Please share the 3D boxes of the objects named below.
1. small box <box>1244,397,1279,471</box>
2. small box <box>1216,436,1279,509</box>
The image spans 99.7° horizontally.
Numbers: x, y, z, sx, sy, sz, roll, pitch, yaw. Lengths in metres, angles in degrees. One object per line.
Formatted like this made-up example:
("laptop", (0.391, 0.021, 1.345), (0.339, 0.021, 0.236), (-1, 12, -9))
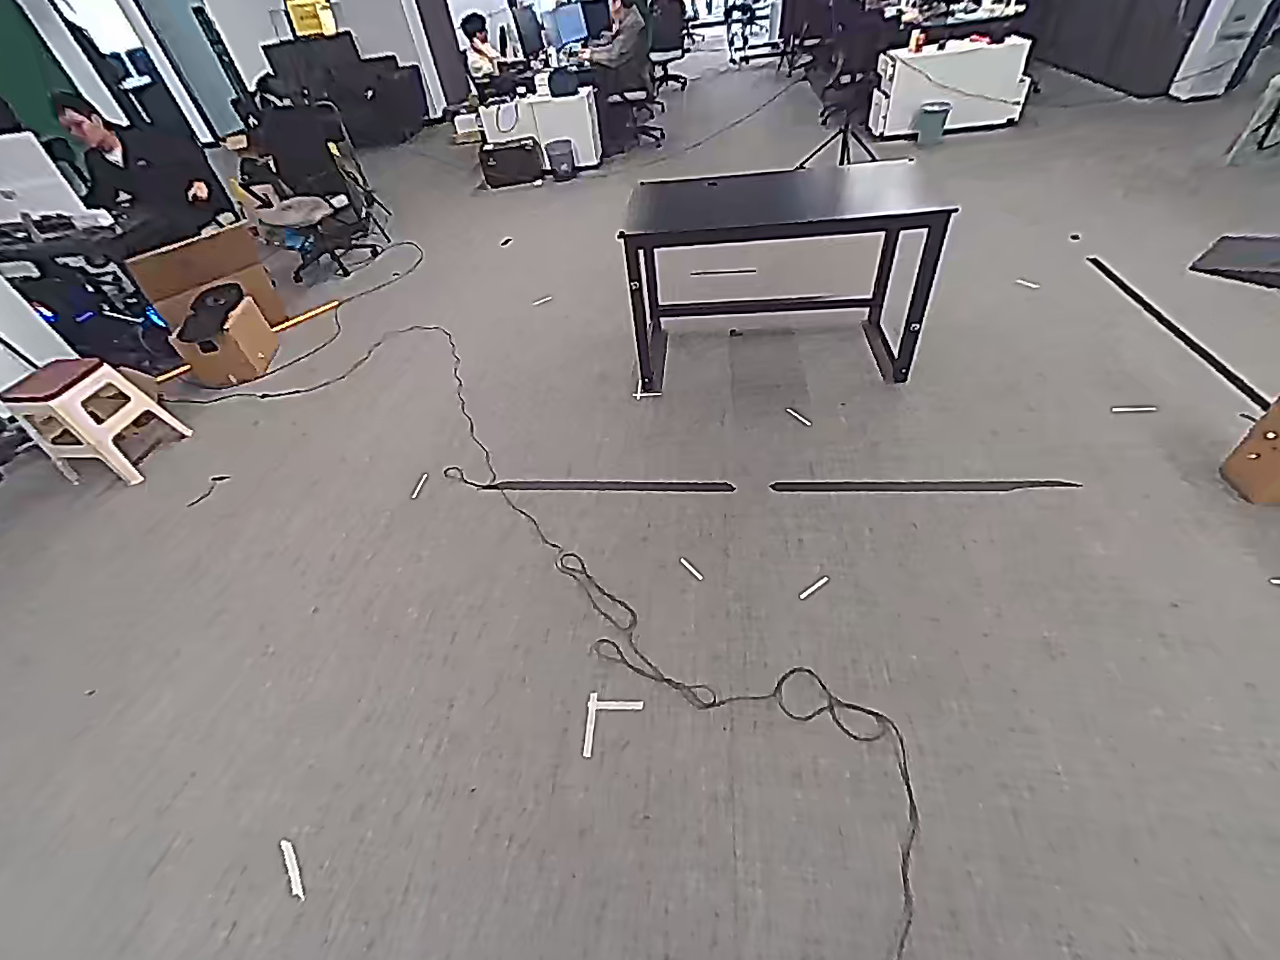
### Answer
("small box", (2.027, -0.138, 1.635), (0.179, 0.176, 0.168), (-1, 45, 9))
("small box", (2.051, -0.024, 1.751), (0.168, 0.176, 0.179), (-1, 45, 9))
